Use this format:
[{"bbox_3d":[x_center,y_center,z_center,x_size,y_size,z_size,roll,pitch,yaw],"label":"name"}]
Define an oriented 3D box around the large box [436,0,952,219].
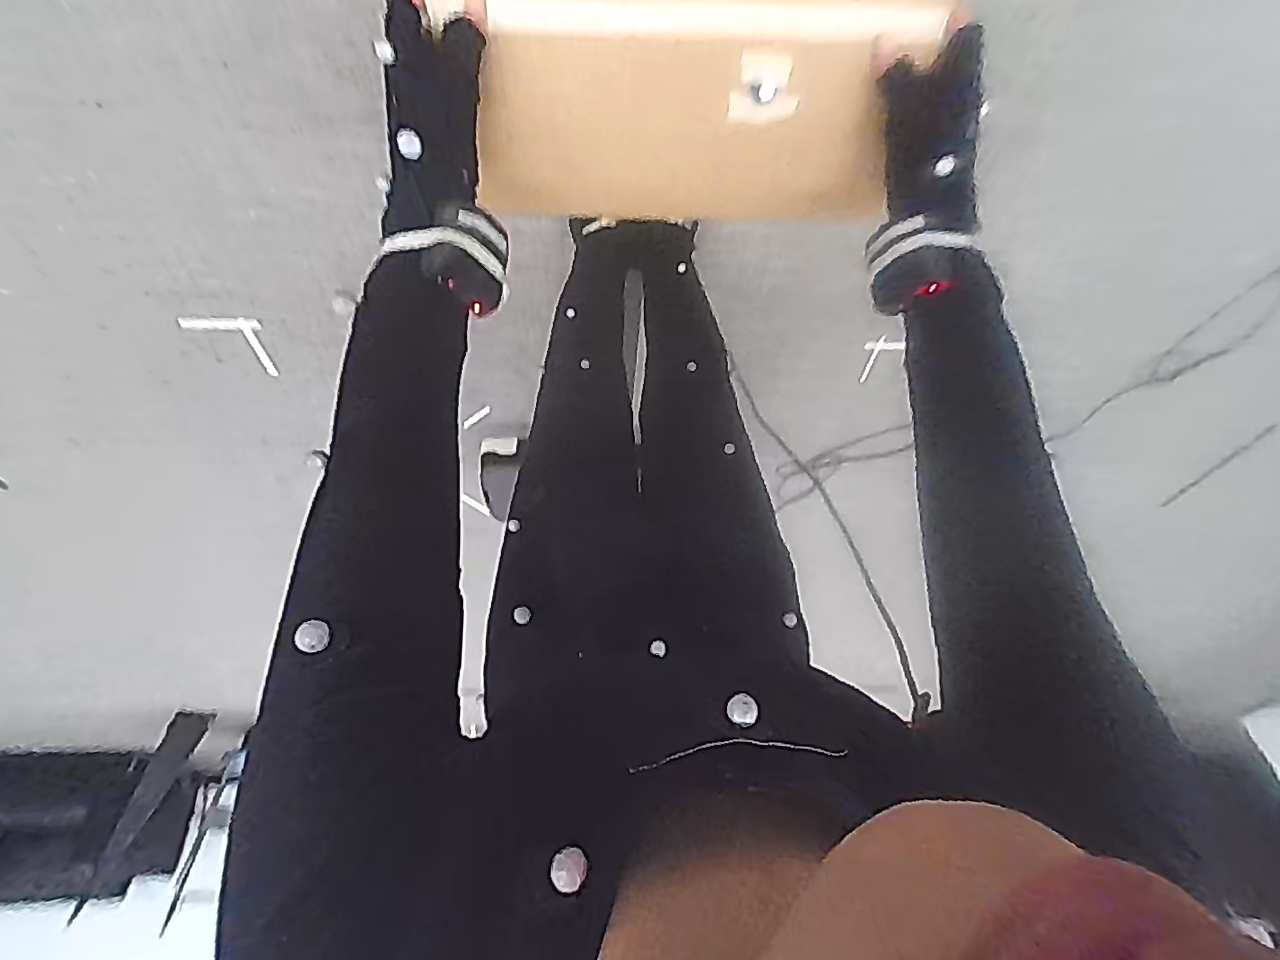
[{"bbox_3d":[0.036,-0.472,0.516,0.408,0.320,0.320,-1,140,-2],"label":"large box"}]
